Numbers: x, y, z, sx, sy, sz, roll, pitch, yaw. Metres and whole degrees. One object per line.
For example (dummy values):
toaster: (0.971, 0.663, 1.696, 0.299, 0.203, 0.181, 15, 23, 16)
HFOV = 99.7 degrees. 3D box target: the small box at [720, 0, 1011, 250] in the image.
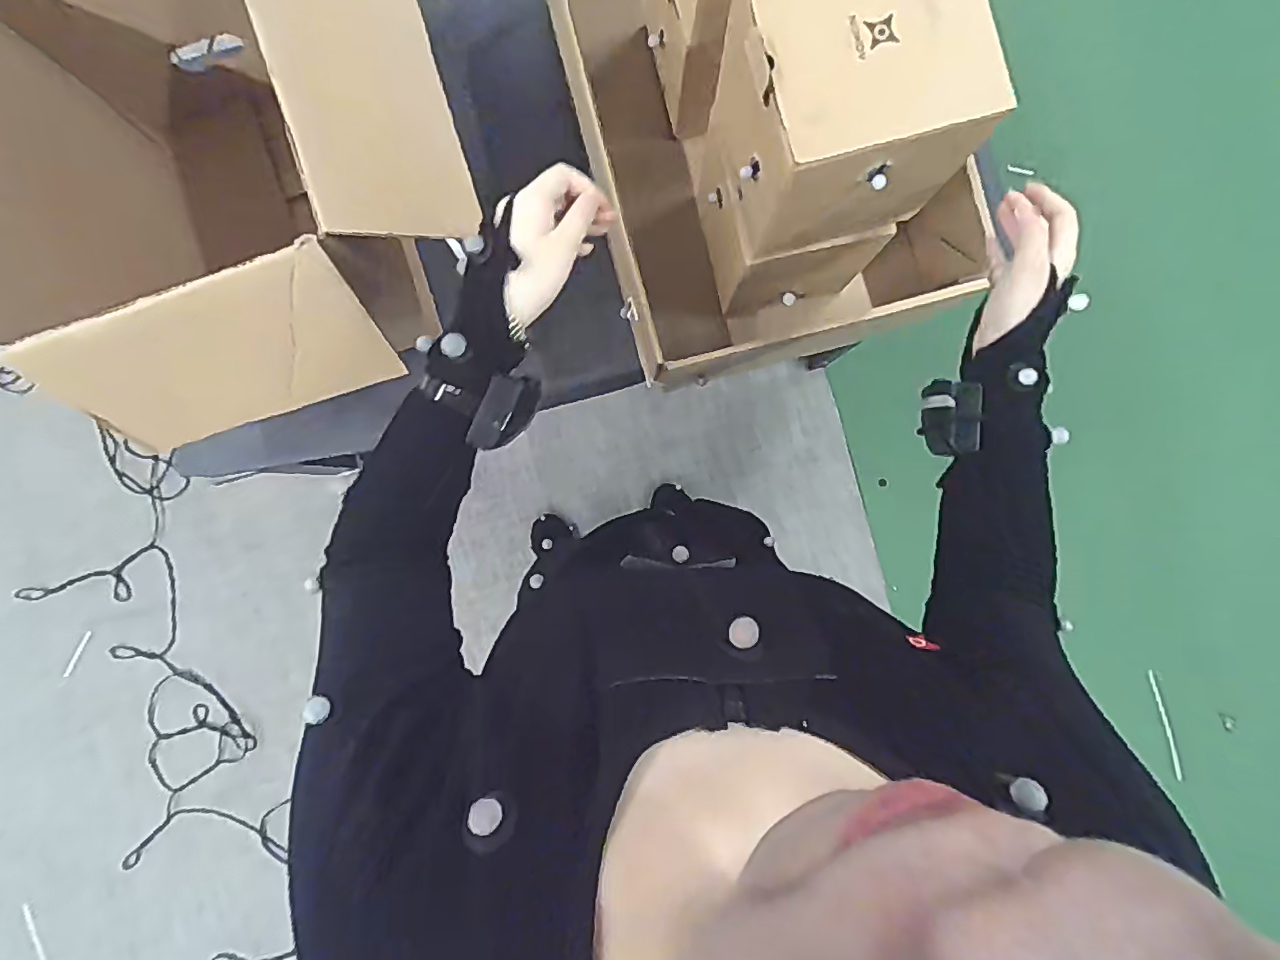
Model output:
small box: (0.177, -0.335, 0.488, 0.179, 0.176, 0.168, -15, 89, 0)

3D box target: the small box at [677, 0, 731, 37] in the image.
small box: (0.110, -0.558, 0.492, 0.179, 0.176, 0.168, -15, 91, -1)
